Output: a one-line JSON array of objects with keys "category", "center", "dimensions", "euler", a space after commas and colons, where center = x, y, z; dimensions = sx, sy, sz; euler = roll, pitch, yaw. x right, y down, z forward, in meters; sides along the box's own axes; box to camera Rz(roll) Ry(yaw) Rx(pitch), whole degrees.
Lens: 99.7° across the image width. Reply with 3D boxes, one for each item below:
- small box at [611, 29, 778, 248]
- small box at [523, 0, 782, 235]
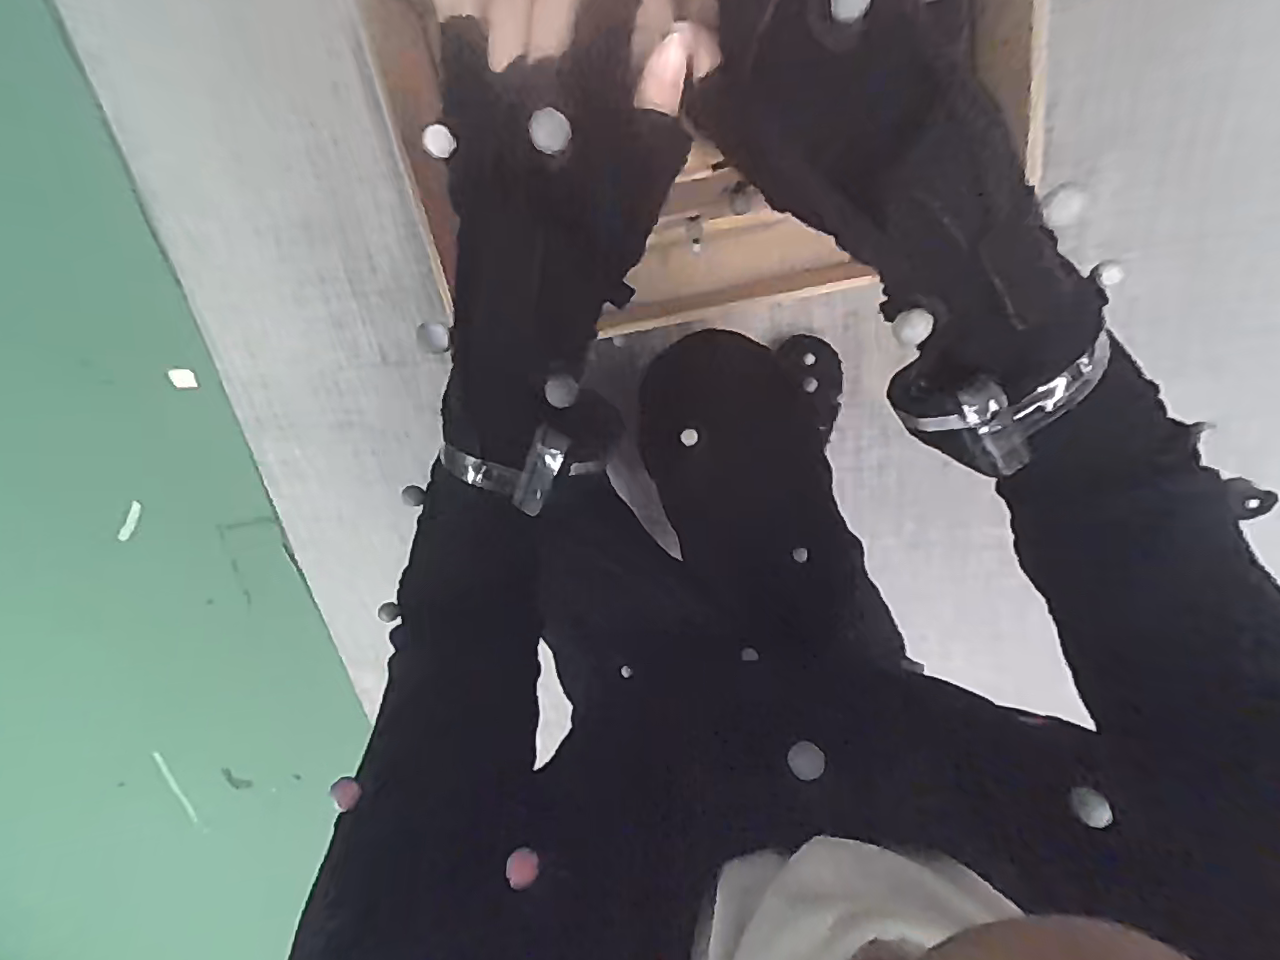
[{"category": "small box", "center": [0.056, -0.363, 0.609], "dimensions": [0.179, 0.176, 0.168], "euler": [-4, 110, 12]}, {"category": "small box", "center": [0.024, -0.318, 0.459], "dimensions": [0.168, 0.176, 0.179], "euler": [-9, 110, 13]}]
